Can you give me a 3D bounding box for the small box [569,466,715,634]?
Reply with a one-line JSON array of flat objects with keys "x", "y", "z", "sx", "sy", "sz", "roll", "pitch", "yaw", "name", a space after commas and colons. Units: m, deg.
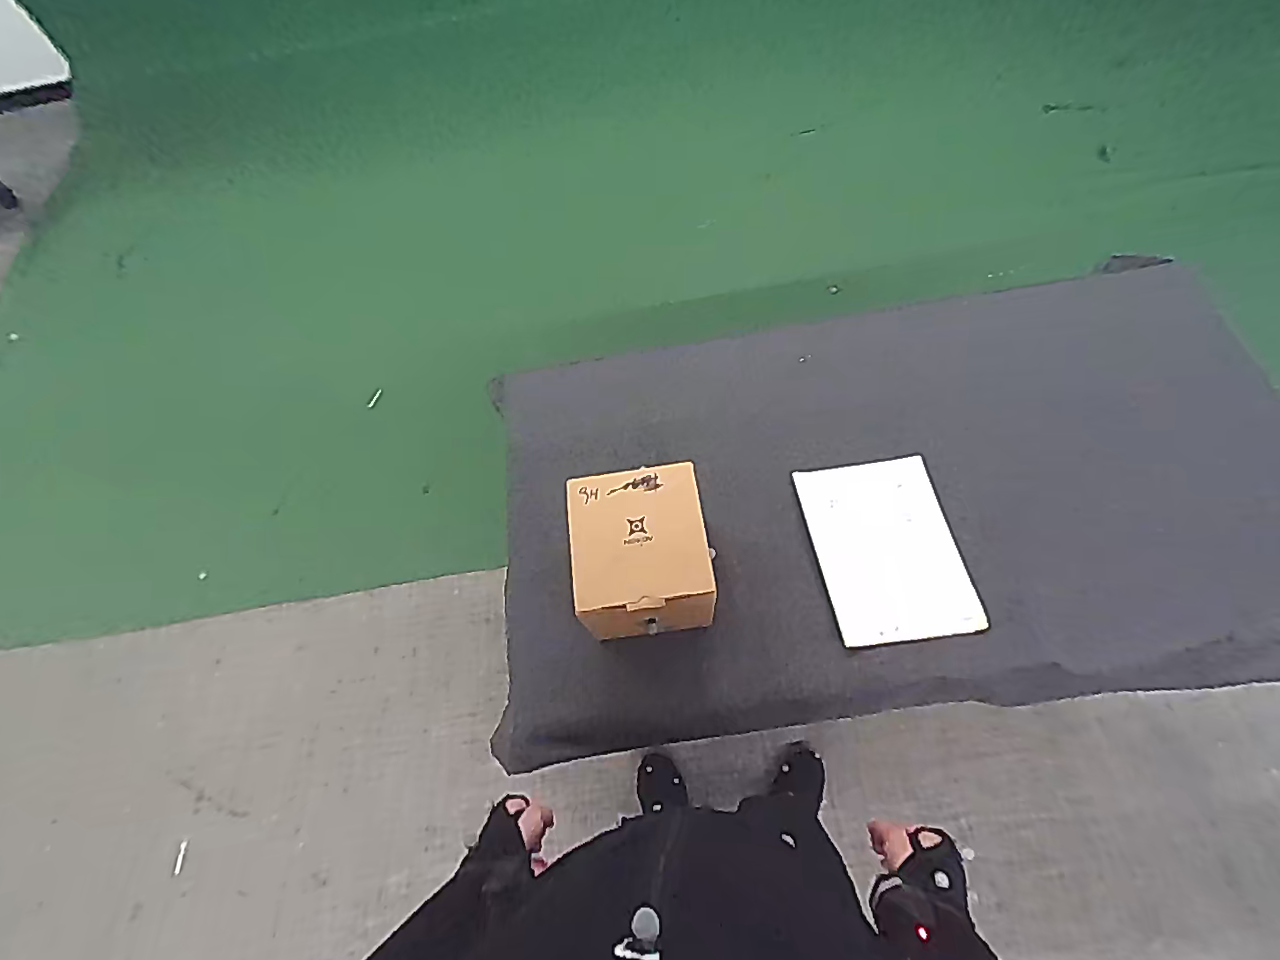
[{"x": 0.005, "y": 0.104, "z": 0.728, "sx": 0.168, "sy": 0.176, "sz": 0.179, "roll": -9, "pitch": 64, "yaw": 1, "name": "small box"}]
